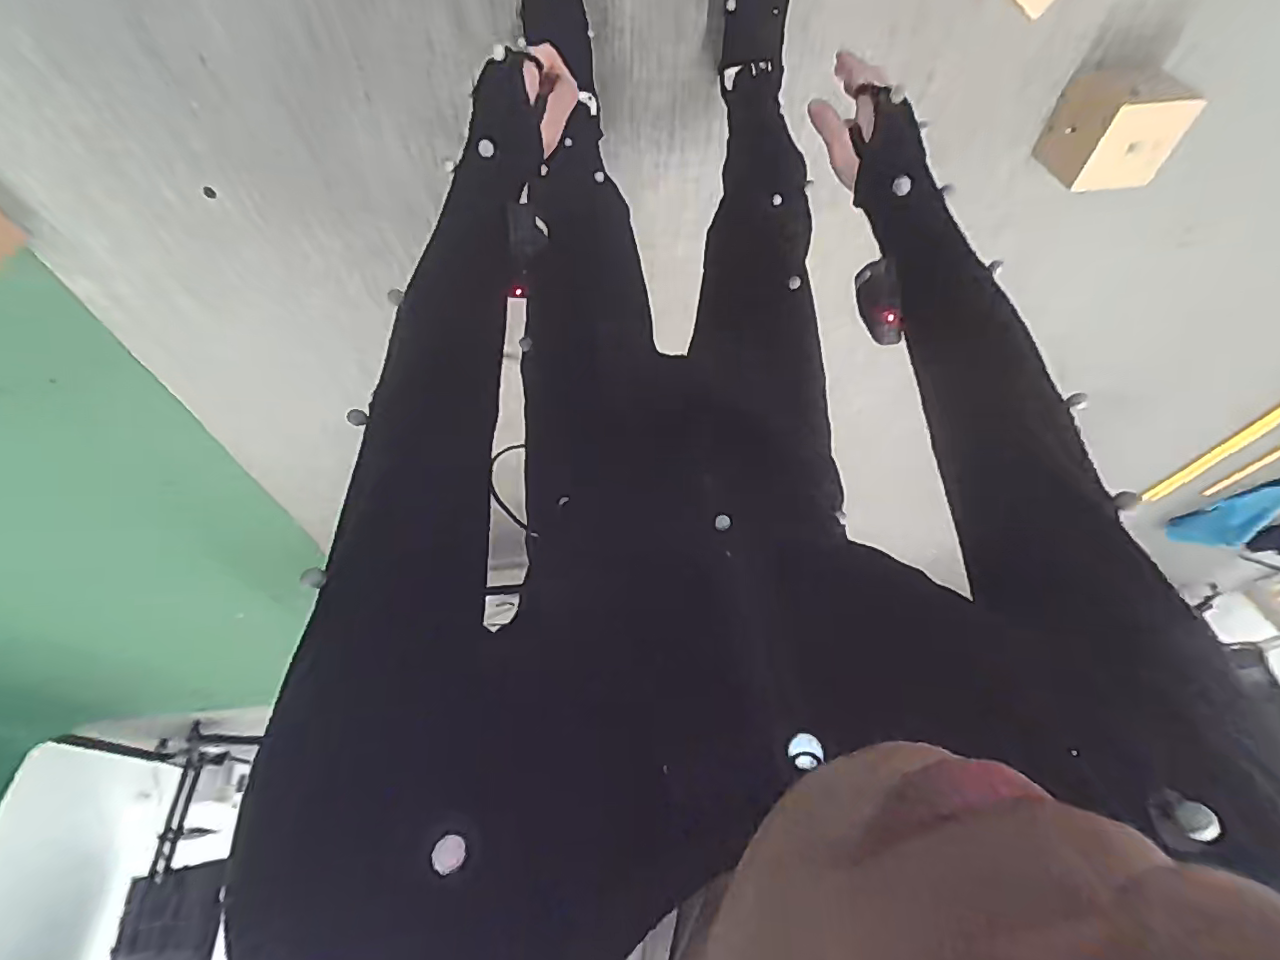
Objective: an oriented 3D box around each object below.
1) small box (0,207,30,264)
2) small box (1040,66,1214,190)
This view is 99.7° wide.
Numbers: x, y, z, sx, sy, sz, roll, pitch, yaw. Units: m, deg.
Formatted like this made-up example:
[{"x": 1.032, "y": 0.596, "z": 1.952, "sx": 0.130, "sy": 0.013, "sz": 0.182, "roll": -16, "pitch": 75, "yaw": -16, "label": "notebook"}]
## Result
[{"x": -1.401, "y": -0.505, "z": 1.069, "sx": 0.168, "sy": 0.176, "sz": 0.179, "roll": -9, "pitch": 145, "yaw": 4, "label": "small box"}, {"x": 0.992, "y": -0.732, "z": 1.125, "sx": 0.179, "sy": 0.176, "sz": 0.168, "roll": -5, "pitch": 146, "yaw": -2, "label": "small box"}]
